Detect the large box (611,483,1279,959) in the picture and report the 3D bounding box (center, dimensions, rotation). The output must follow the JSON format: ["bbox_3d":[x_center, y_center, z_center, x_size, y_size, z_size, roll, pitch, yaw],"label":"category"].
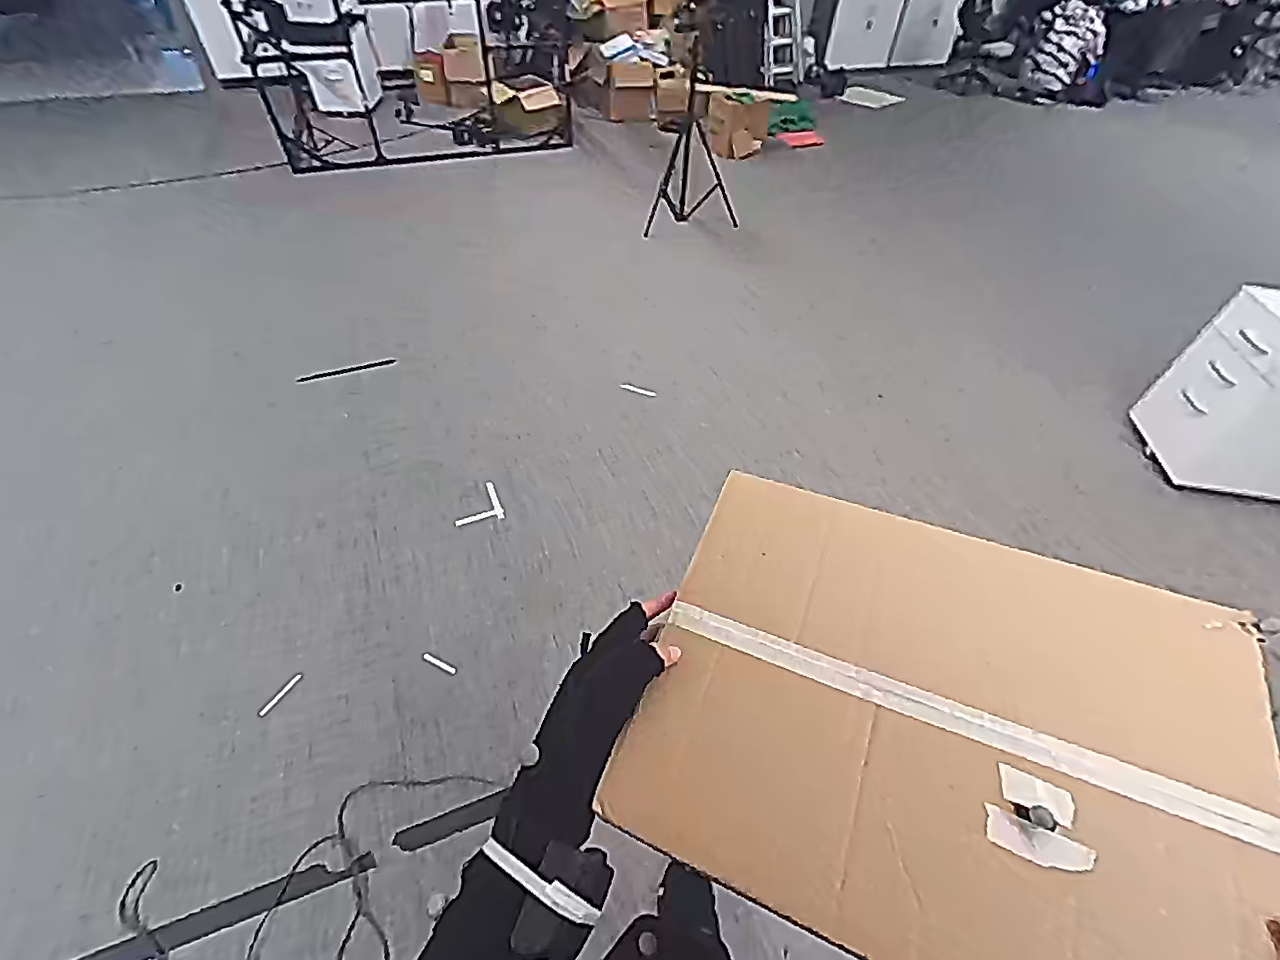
[{"bbox_3d":[0.230,0.255,0.526,0.408,0.320,0.320,17,59,19],"label":"large box"}]
